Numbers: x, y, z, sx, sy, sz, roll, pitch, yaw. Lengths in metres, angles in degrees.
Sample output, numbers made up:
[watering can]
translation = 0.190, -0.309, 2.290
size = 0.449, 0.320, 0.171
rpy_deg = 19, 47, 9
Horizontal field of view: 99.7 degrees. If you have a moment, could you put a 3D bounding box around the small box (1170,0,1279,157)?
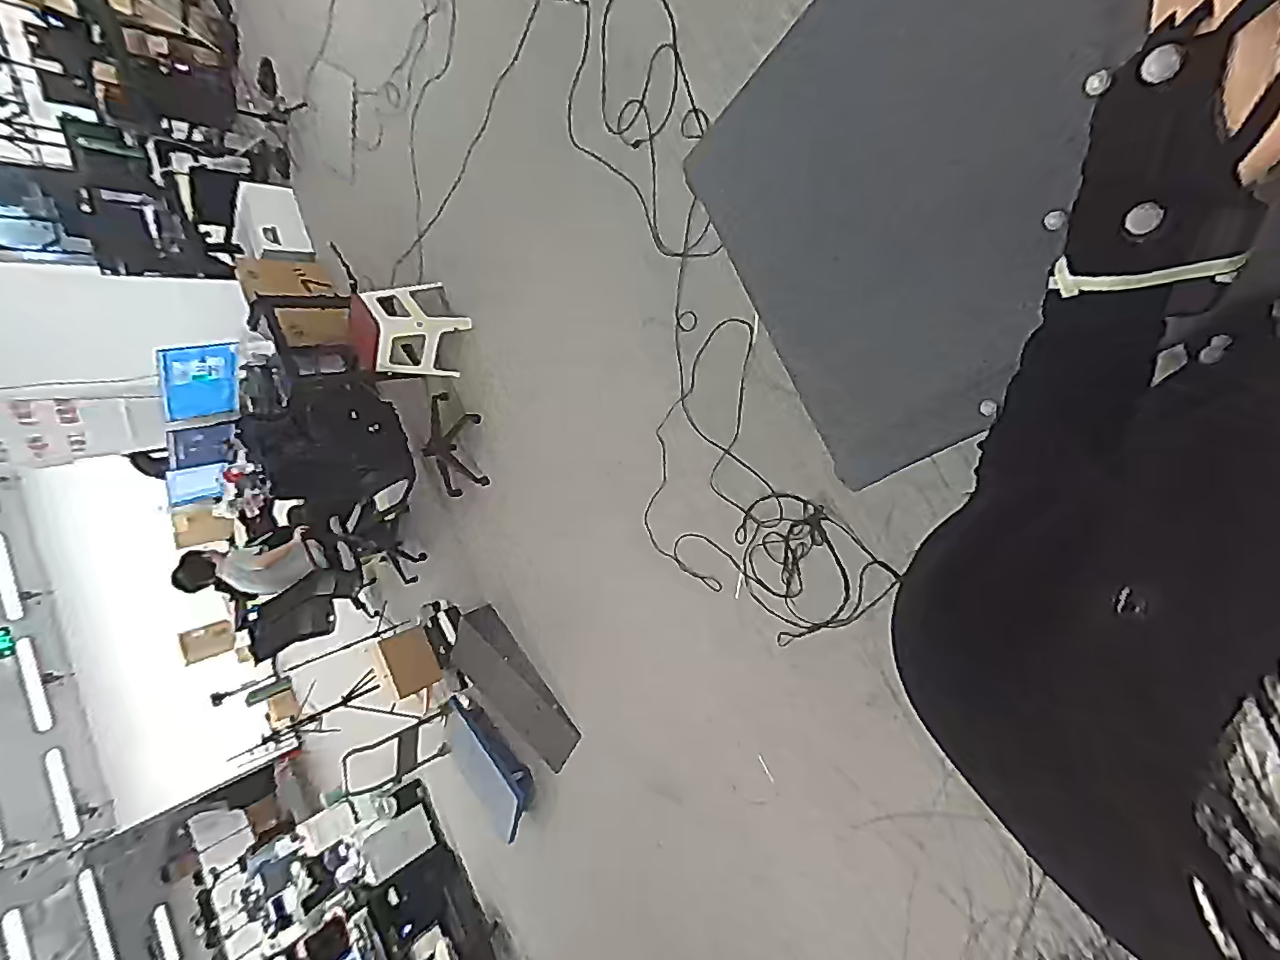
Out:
[small box]
translation = 0.521, -0.369, 0.385
size = 0.168, 0.176, 0.179
rpy_deg = -33, 77, 46
